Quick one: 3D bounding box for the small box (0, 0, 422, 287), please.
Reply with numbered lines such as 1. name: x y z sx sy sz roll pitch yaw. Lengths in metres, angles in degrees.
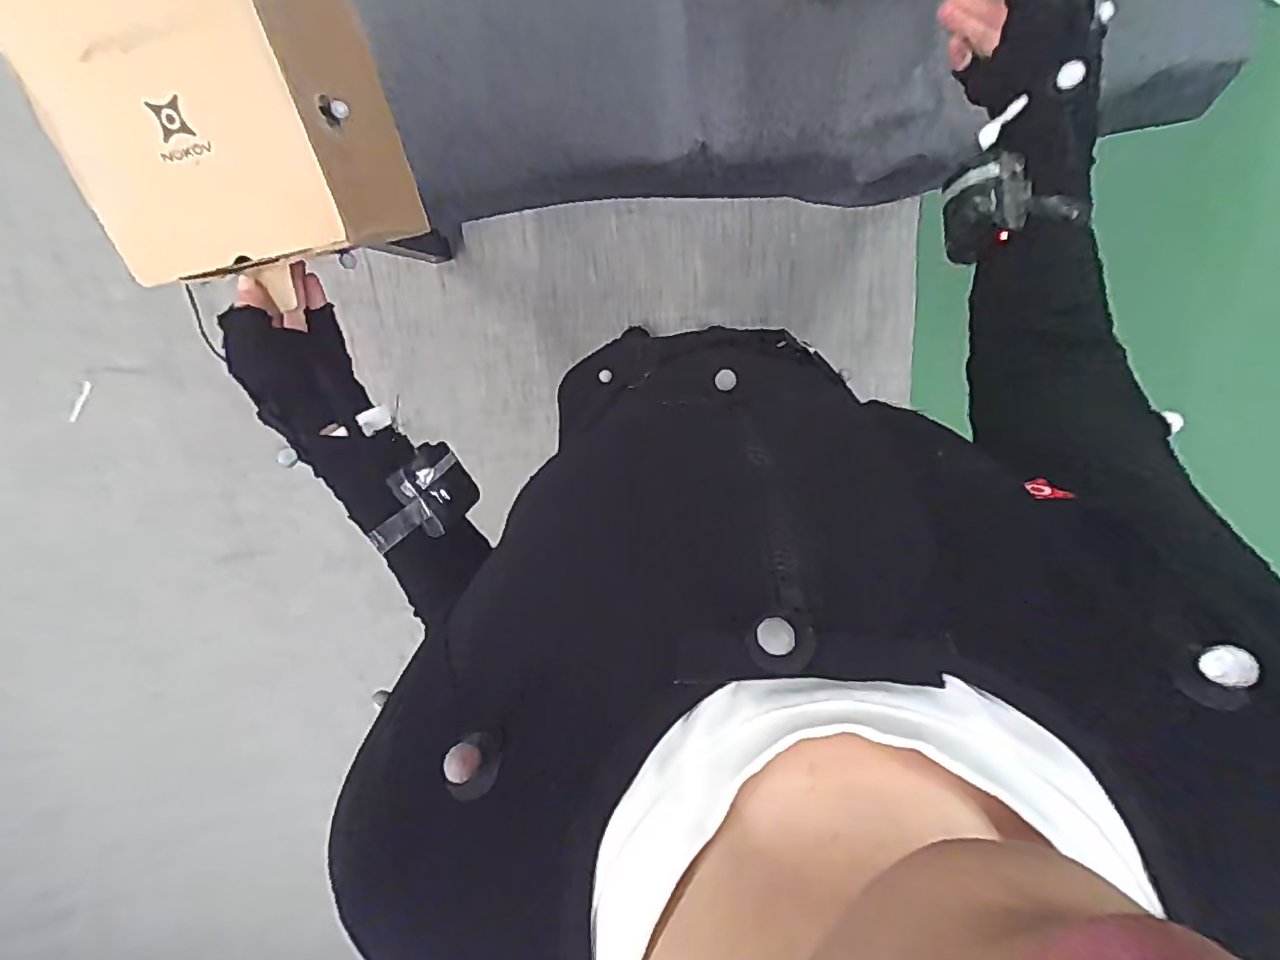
1. small box: -0.295 -0.264 0.412 0.168 0.176 0.179 -11 116 5
